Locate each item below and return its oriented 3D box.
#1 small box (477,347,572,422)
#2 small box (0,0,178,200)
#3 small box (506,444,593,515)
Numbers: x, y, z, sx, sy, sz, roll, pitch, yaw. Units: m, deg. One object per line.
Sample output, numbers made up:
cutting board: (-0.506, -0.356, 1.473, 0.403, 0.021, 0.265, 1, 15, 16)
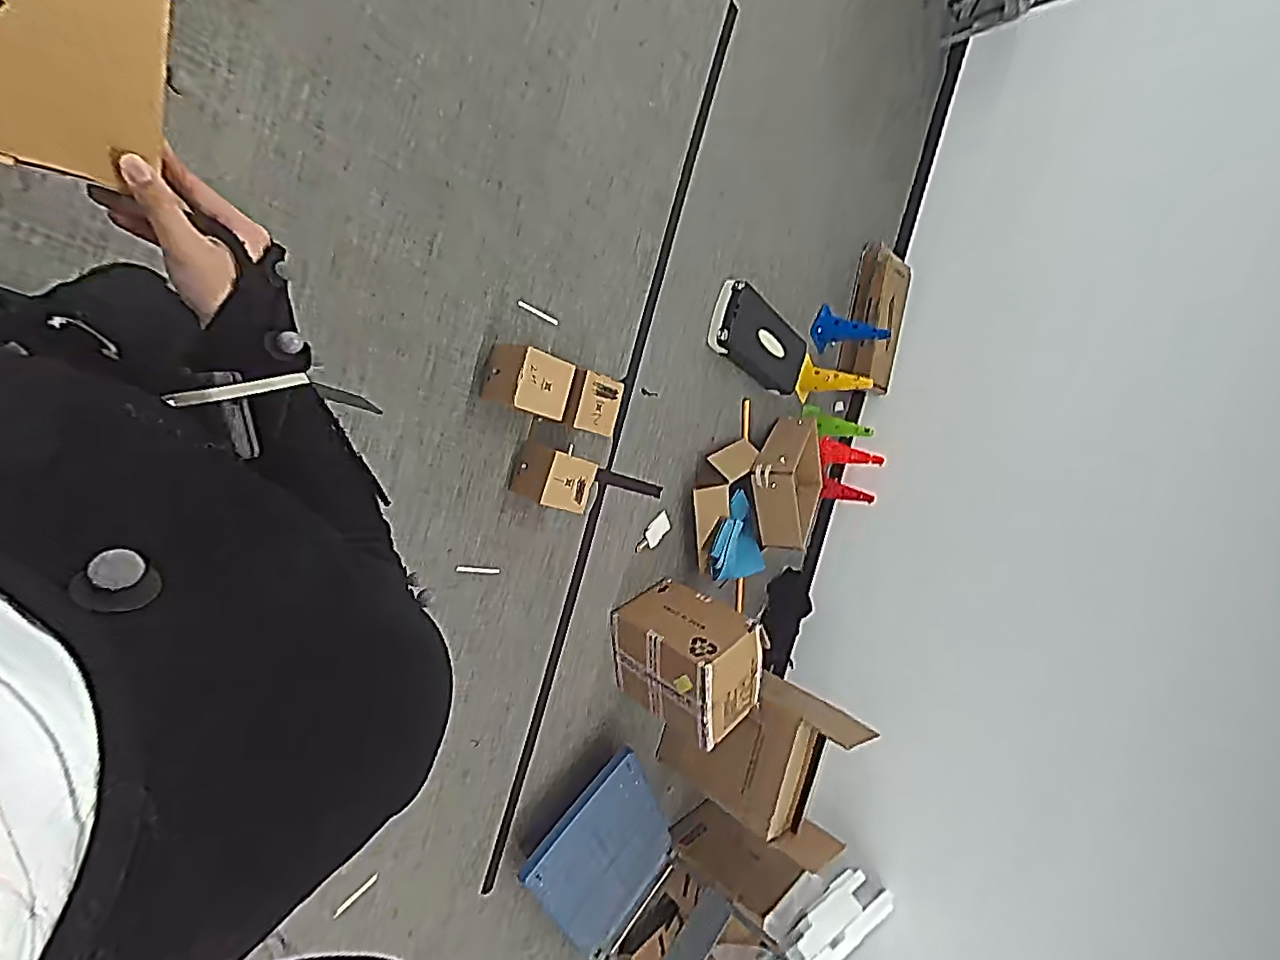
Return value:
small box: (-0.329, -0.274, 1.535, 0.179, 0.176, 0.168, 15, 91, -49)
small box: (-0.386, -0.286, 0.309, 0.168, 0.176, 0.179, 0, 113, -48)
small box: (-0.283, -0.004, 1.677, 0.179, 0.176, 0.168, 20, 88, -48)
